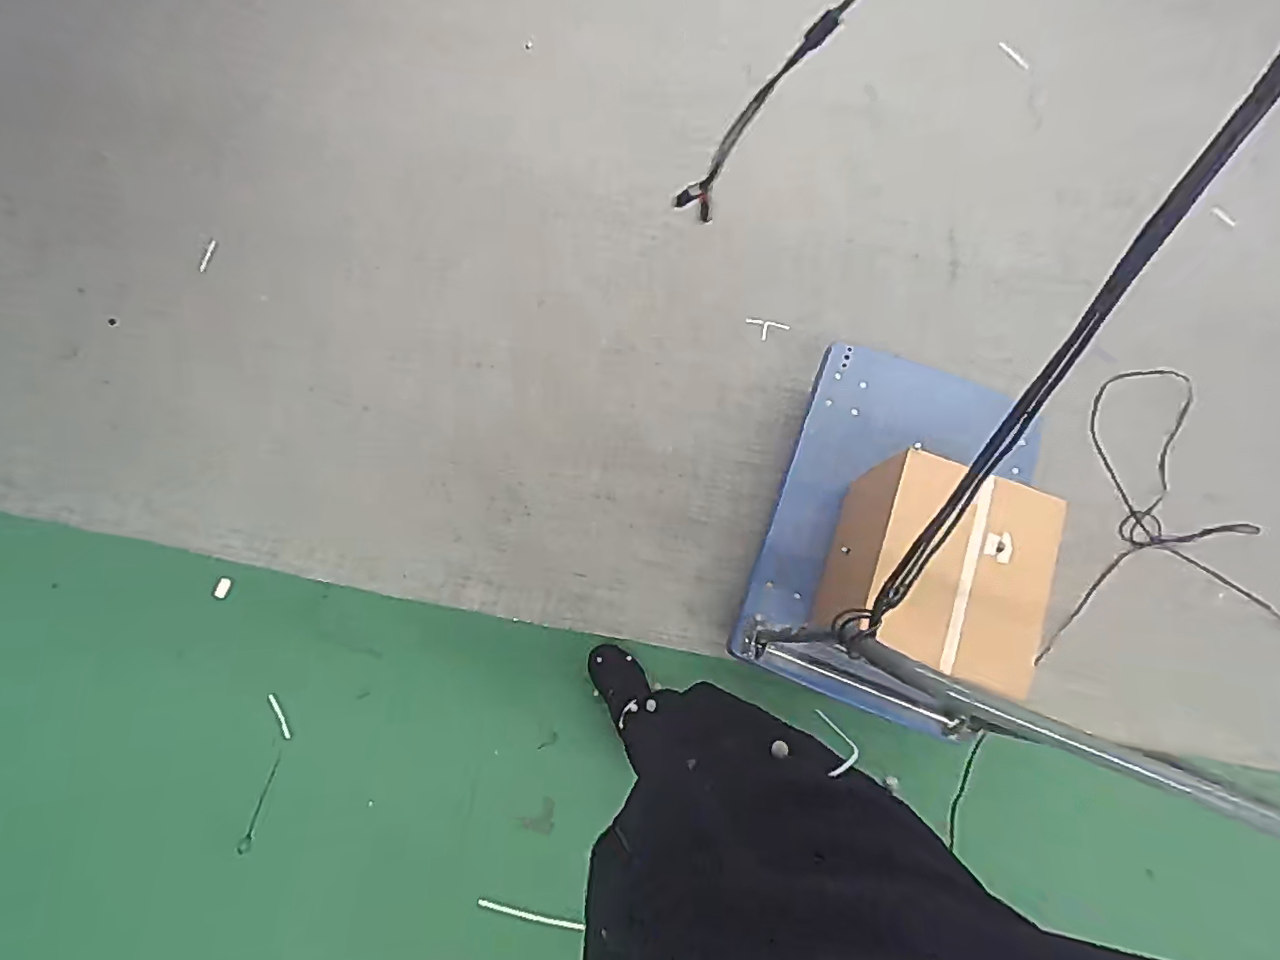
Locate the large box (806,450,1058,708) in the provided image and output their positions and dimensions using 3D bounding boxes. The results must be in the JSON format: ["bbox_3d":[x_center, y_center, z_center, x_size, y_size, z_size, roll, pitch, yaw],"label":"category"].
[{"bbox_3d":[0.588,0.208,1.140,0.320,0.320,0.408,21,76,4],"label":"large box"}]
